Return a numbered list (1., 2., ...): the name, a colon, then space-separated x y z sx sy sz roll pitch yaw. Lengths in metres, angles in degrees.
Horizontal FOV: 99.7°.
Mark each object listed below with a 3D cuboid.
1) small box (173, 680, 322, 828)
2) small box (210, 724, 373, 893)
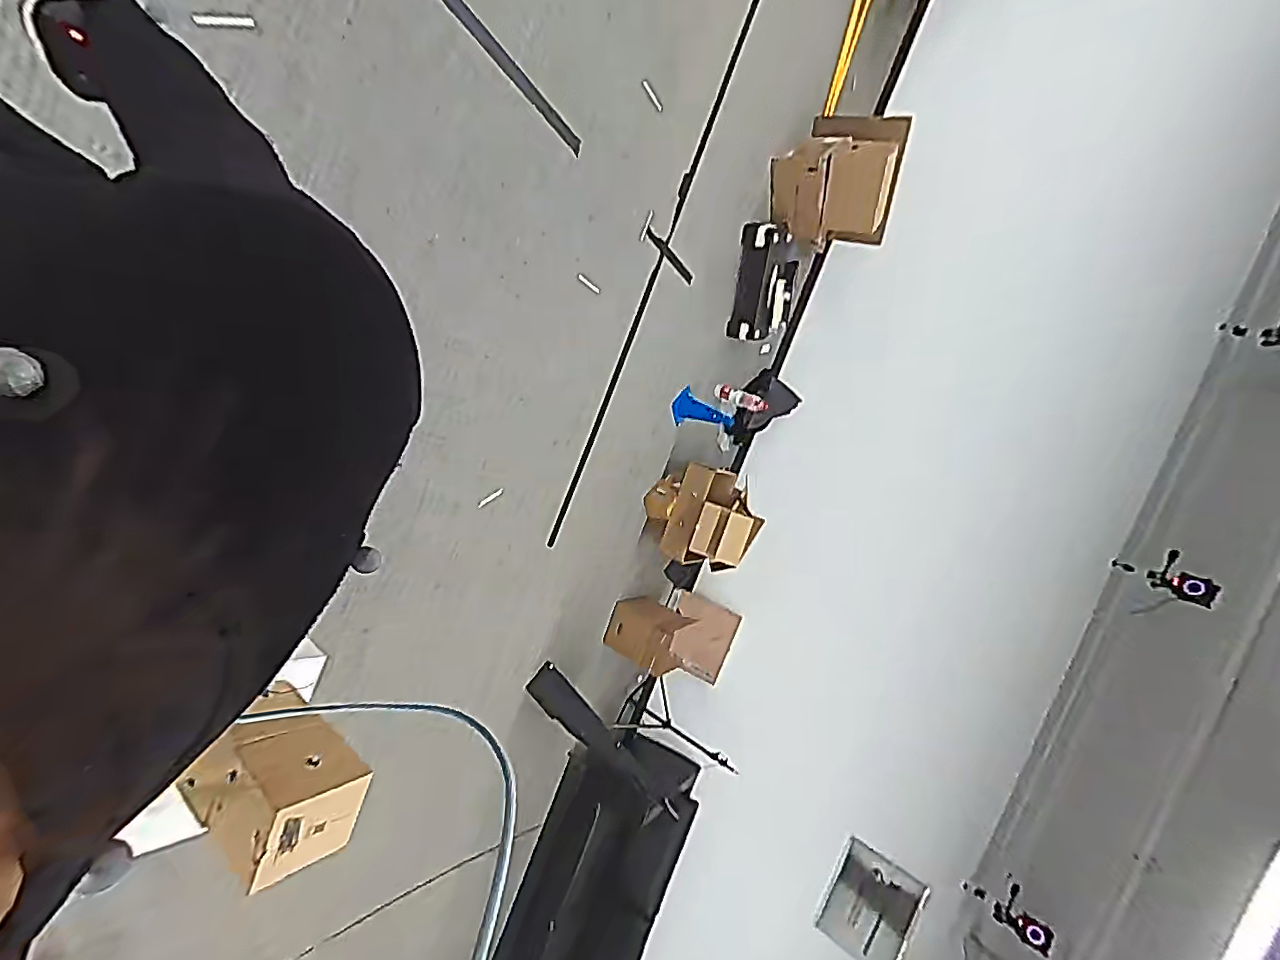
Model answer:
1. small box: -0.772 0.525 1.063 0.168 0.176 0.179 21 93 -61
2. small box: -0.637 0.584 0.989 0.179 0.176 0.168 12 102 -62
